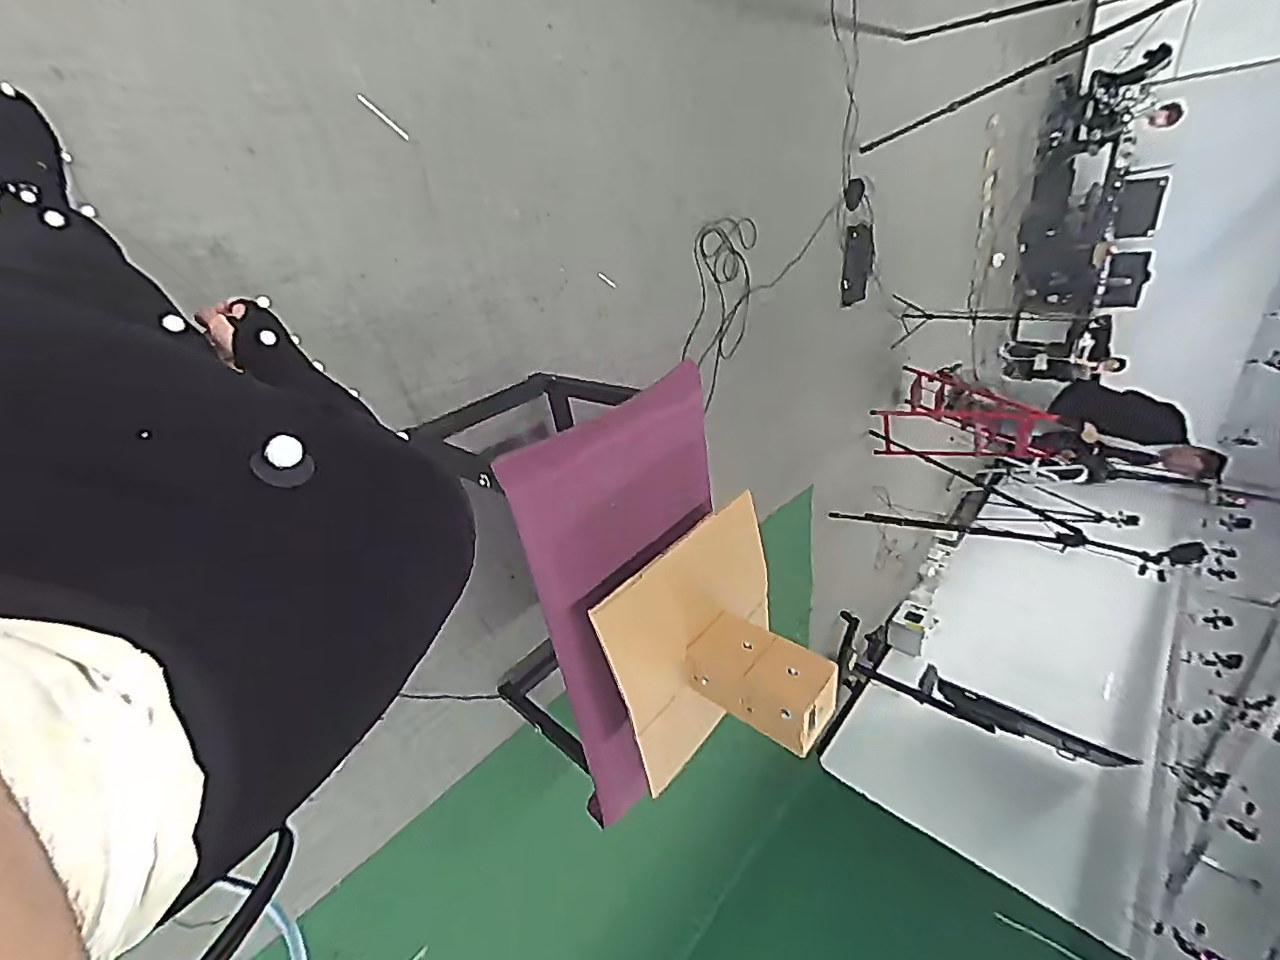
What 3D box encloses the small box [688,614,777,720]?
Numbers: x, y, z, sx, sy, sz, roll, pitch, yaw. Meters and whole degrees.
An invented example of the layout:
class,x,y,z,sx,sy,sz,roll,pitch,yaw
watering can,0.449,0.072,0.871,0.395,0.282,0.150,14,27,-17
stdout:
class,x,y,z,sx,sy,sz,roll,pitch,yaw
small box,0.250,0.494,1.456,0.179,0.176,0.168,-33,128,-36
